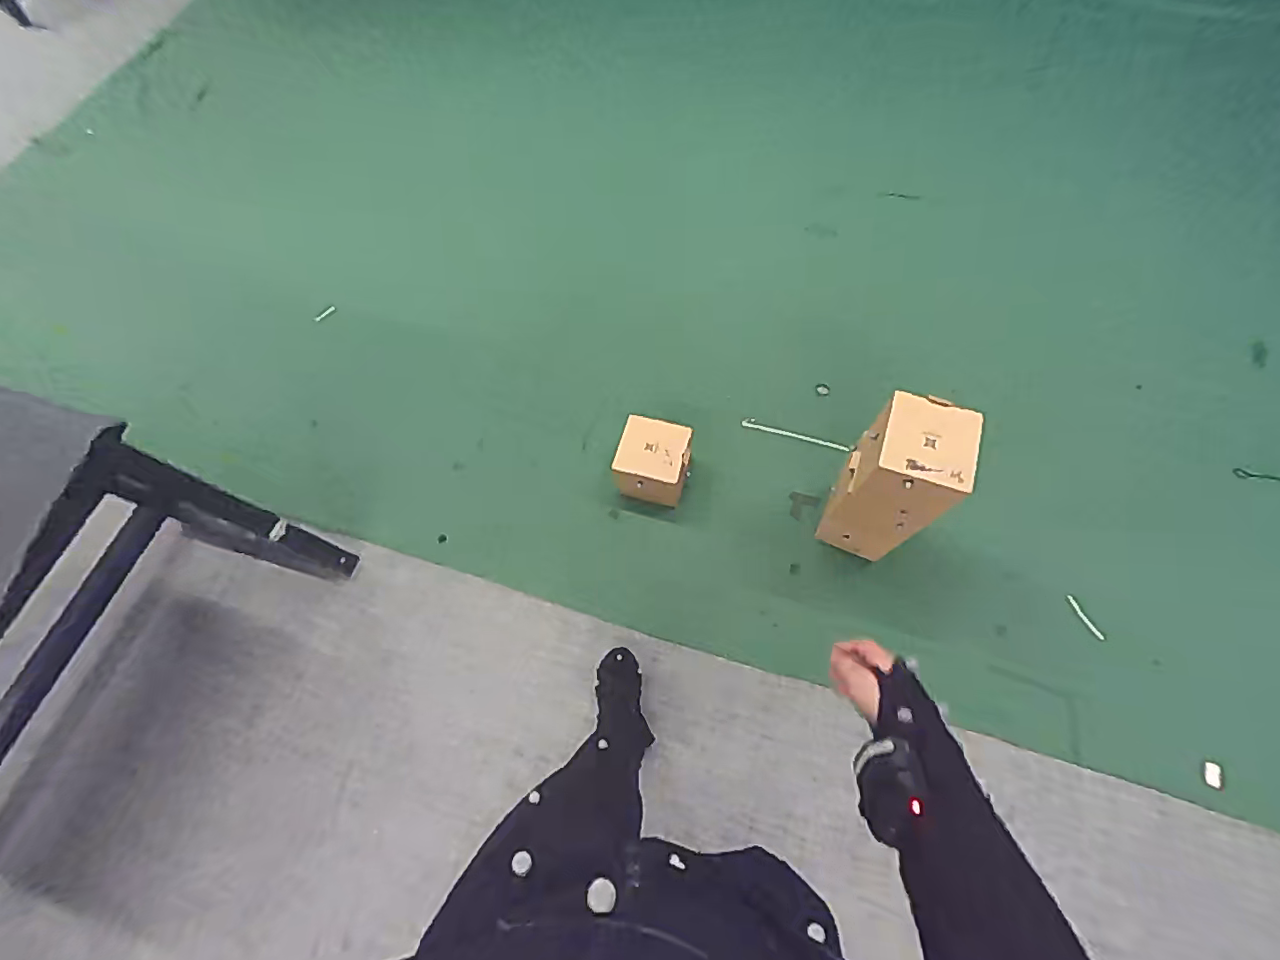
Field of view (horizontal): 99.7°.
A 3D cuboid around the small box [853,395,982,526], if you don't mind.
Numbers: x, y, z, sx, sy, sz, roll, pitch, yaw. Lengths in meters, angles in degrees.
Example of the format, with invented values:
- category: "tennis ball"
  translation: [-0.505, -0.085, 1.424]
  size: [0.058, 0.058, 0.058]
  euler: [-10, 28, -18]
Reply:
- category: "small box"
  translation: [0.541, -0.033, 1.072]
  size: [0.168, 0.176, 0.179]
  euler: [19, 68, 10]

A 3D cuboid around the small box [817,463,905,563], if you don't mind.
- category: "small box"
  translation: [0.566, 0.090, 1.376]
  size: [0.168, 0.176, 0.179]
  euler: [22, 69, 12]

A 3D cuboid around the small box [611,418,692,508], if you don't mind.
- category: "small box"
  translation: [0.035, -0.040, 1.458]
  size: [0.179, 0.176, 0.168]
  euler: [14, 68, 9]
